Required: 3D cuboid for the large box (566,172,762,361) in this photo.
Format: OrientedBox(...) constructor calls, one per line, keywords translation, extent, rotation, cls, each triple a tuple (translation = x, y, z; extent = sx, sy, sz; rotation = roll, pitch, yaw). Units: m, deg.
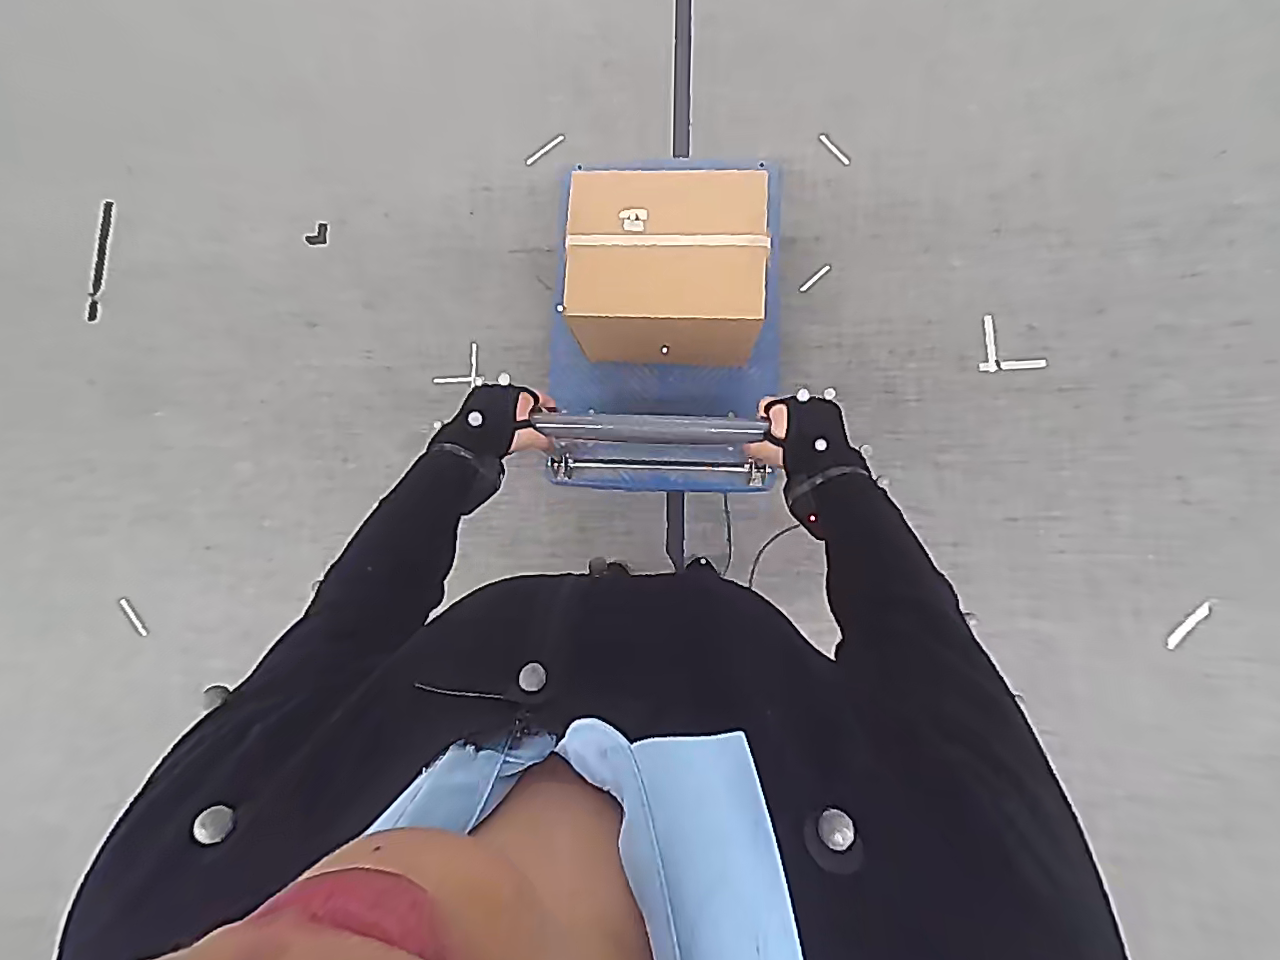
OrientedBox(translation=(0.065, -0.469, 1.259), extent=(0.408, 0.320, 0.320), rotation=(2, 84, 6), cls="large box")
